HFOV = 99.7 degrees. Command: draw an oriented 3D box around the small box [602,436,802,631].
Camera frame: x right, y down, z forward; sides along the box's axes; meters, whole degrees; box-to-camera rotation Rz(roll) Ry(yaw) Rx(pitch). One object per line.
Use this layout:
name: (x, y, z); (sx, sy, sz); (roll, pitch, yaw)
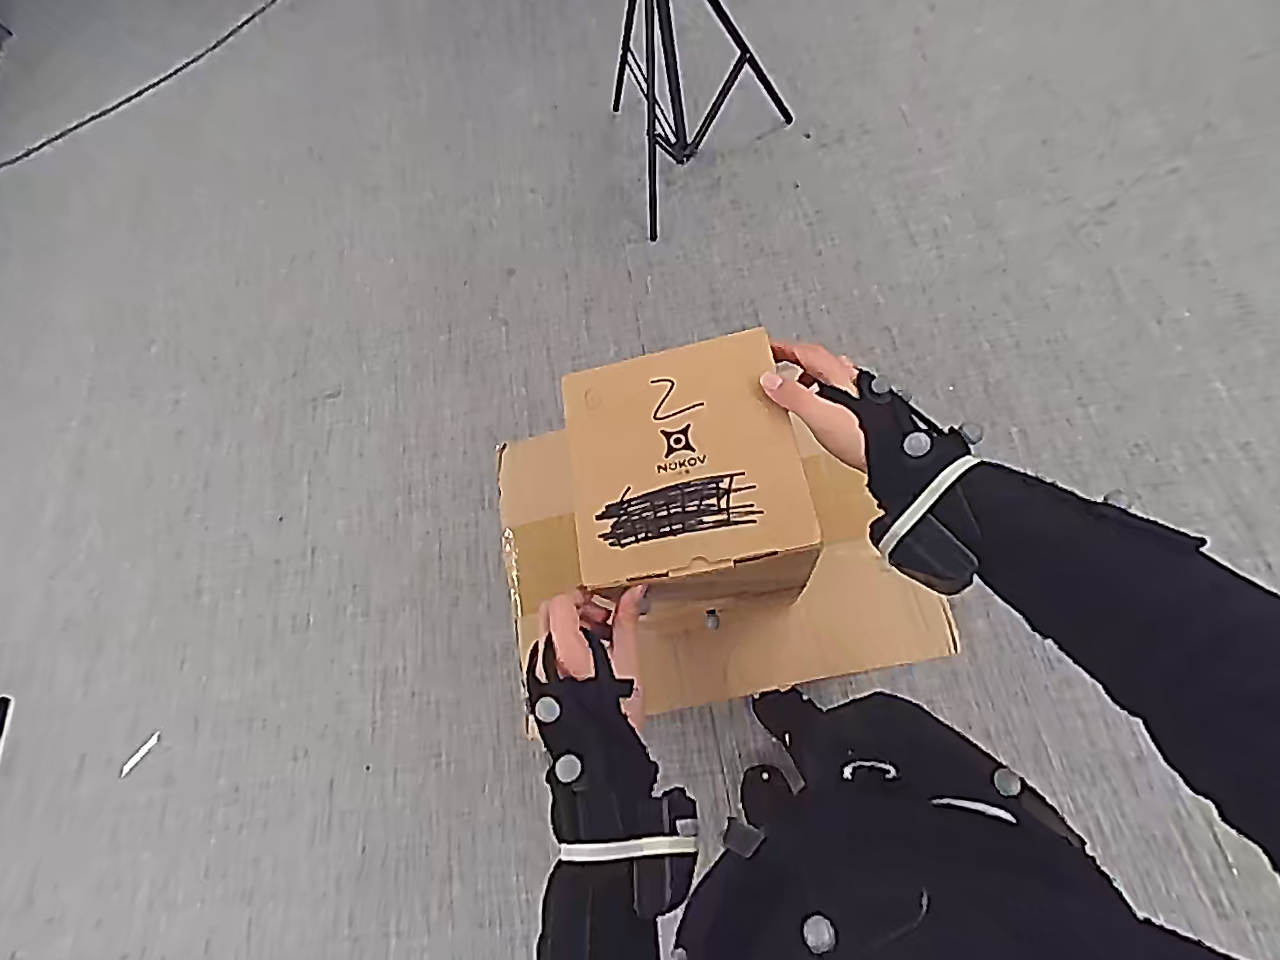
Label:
small box: (0.070, 0.071, 0.616); (0.179, 0.176, 0.168); (-14, 69, 8)
